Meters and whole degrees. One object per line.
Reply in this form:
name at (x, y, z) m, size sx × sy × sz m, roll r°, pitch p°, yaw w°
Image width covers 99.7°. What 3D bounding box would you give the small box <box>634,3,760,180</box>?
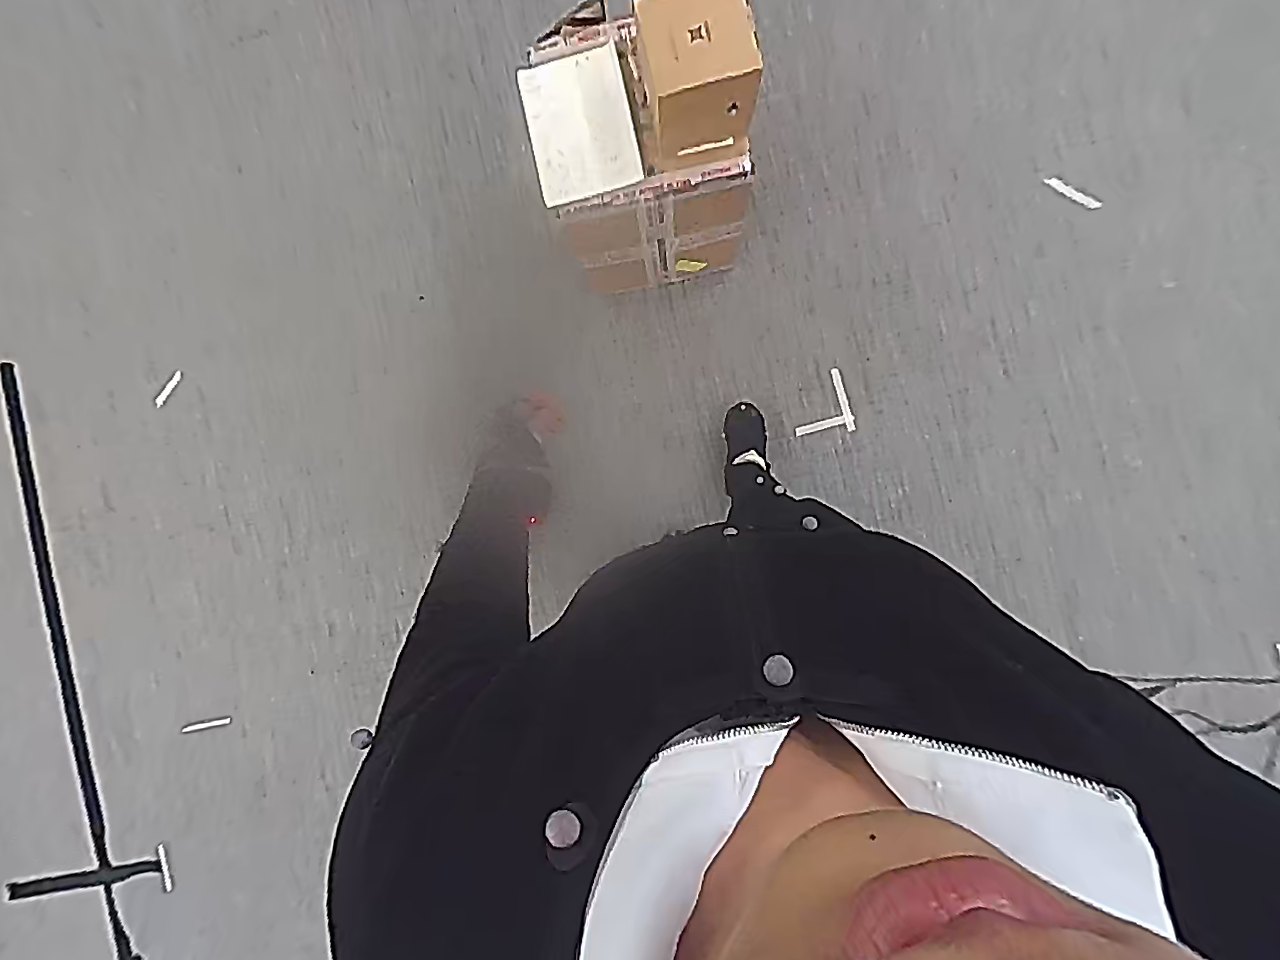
small box at (0.094, -0.668, 0.951) m, size 0.179 × 0.176 × 0.168 m, roll -15°, pitch 89°, yaw 3°
